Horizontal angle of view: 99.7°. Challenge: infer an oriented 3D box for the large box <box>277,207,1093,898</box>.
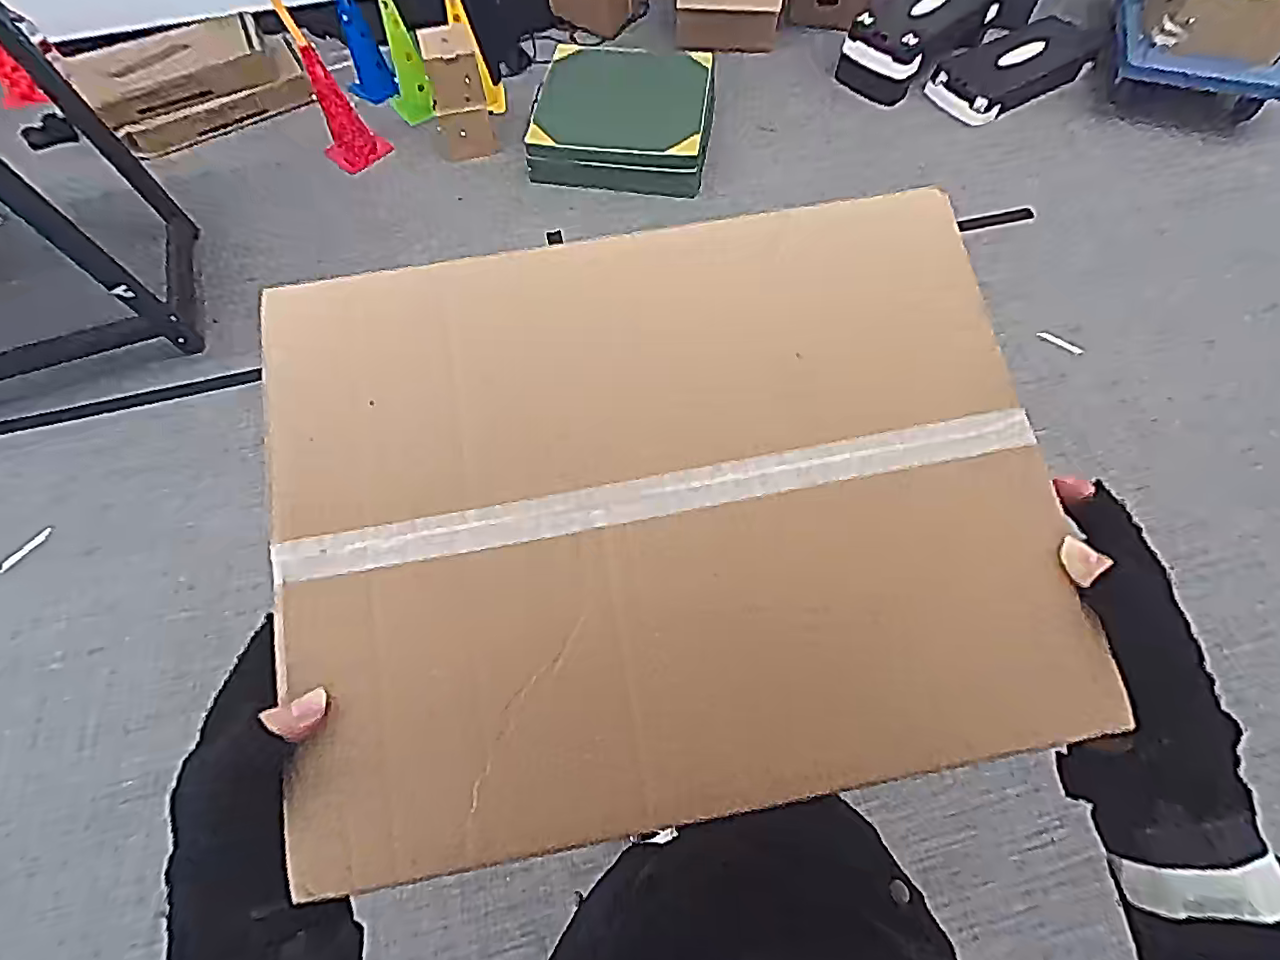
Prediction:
[{"bbox_3d":[0.011,0.044,0.440,0.408,0.320,0.320,-11,77,-3],"label":"large box"}]
